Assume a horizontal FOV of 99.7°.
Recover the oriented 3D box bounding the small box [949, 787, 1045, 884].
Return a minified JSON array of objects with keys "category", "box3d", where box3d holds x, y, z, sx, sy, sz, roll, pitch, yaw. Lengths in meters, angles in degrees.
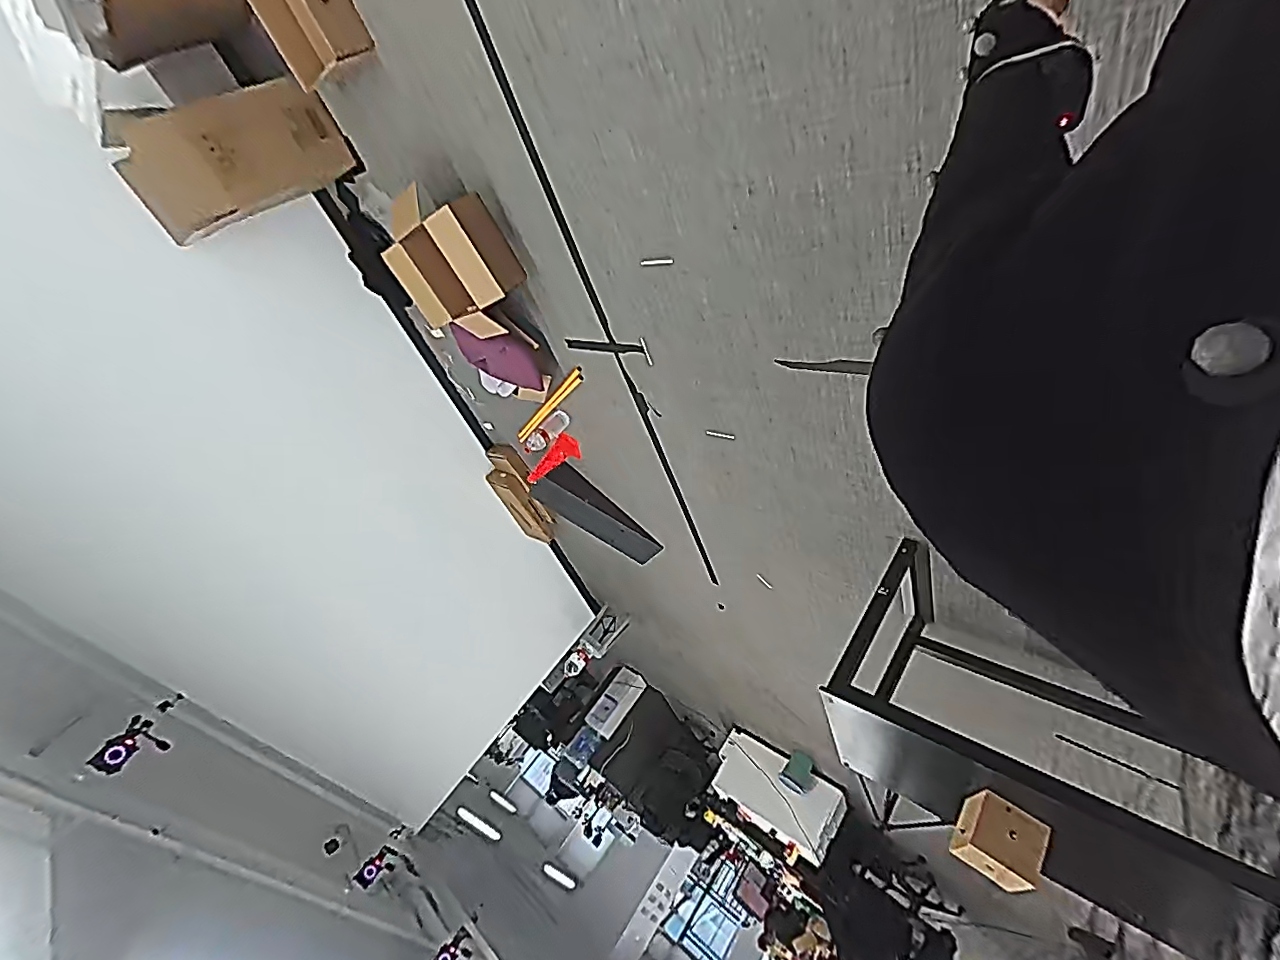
[{"category":"small box","box3d":[1.026,1.016,1.552,0.168,0.176,0.179,28,150,26]}]
